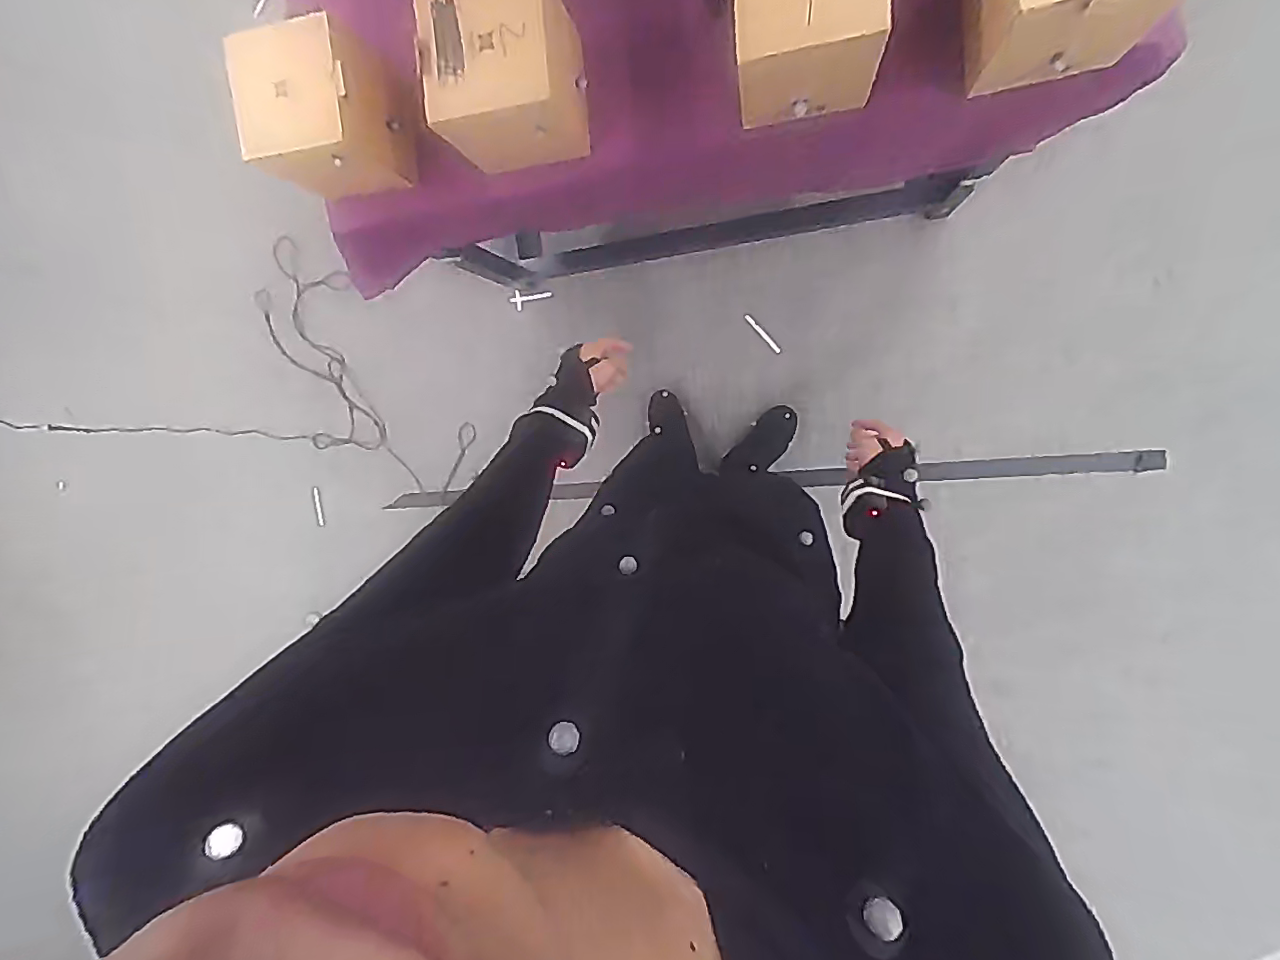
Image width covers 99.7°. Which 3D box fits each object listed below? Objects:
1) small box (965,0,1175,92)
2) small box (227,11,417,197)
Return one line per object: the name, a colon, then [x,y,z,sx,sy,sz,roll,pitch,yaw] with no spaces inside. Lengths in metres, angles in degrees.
small box: [0.472,-0.578,0.594,0.168,0.176,0.179,-4,98,15]
small box: [-0.473,-0.554,0.824,0.179,0.176,0.168,-2,98,12]
